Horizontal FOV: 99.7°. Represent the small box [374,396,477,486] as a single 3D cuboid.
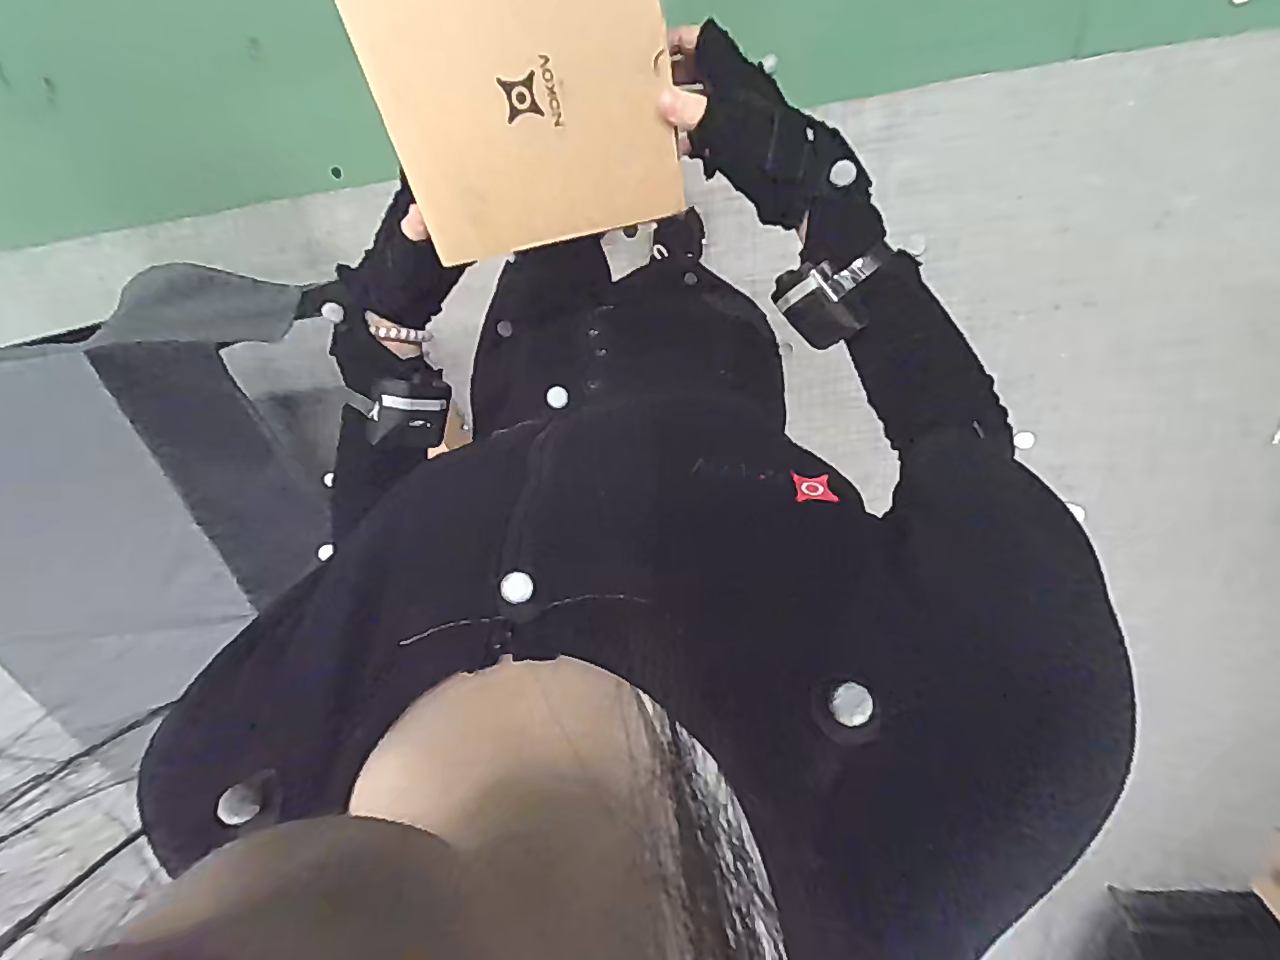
[{"bbox_3d":[-0.581,-0.111,1.489,0.179,0.176,0.168,-16,118,13],"label":"small box"}]
